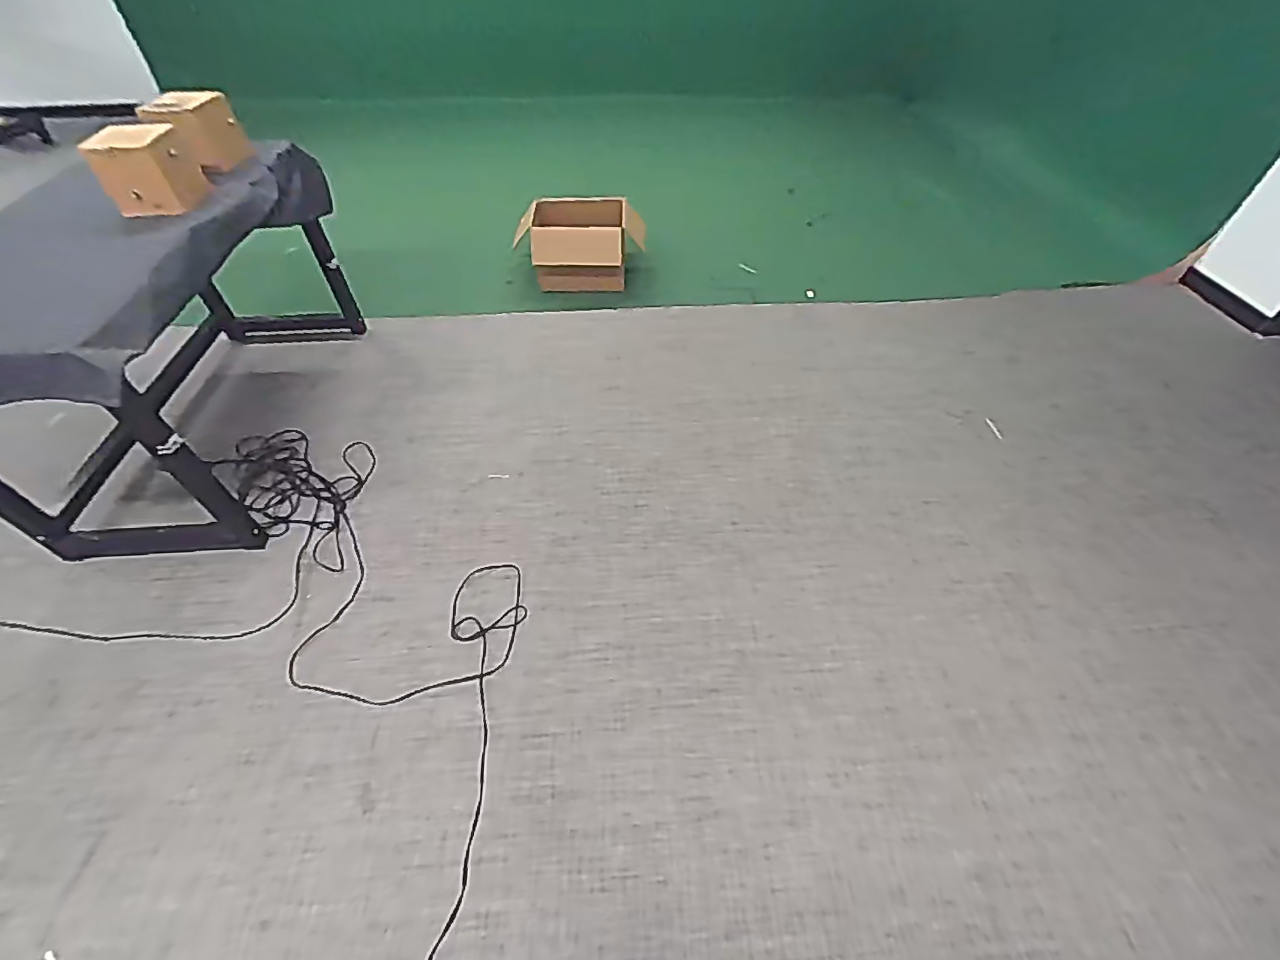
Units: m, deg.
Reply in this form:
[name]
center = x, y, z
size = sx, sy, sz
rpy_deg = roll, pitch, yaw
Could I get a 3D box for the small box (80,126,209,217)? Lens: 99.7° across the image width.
[small box]
center = -1.322, -0.834, 1.463
size = 0.168, 0.176, 0.179
rpy_deg = -5, 50, -4
